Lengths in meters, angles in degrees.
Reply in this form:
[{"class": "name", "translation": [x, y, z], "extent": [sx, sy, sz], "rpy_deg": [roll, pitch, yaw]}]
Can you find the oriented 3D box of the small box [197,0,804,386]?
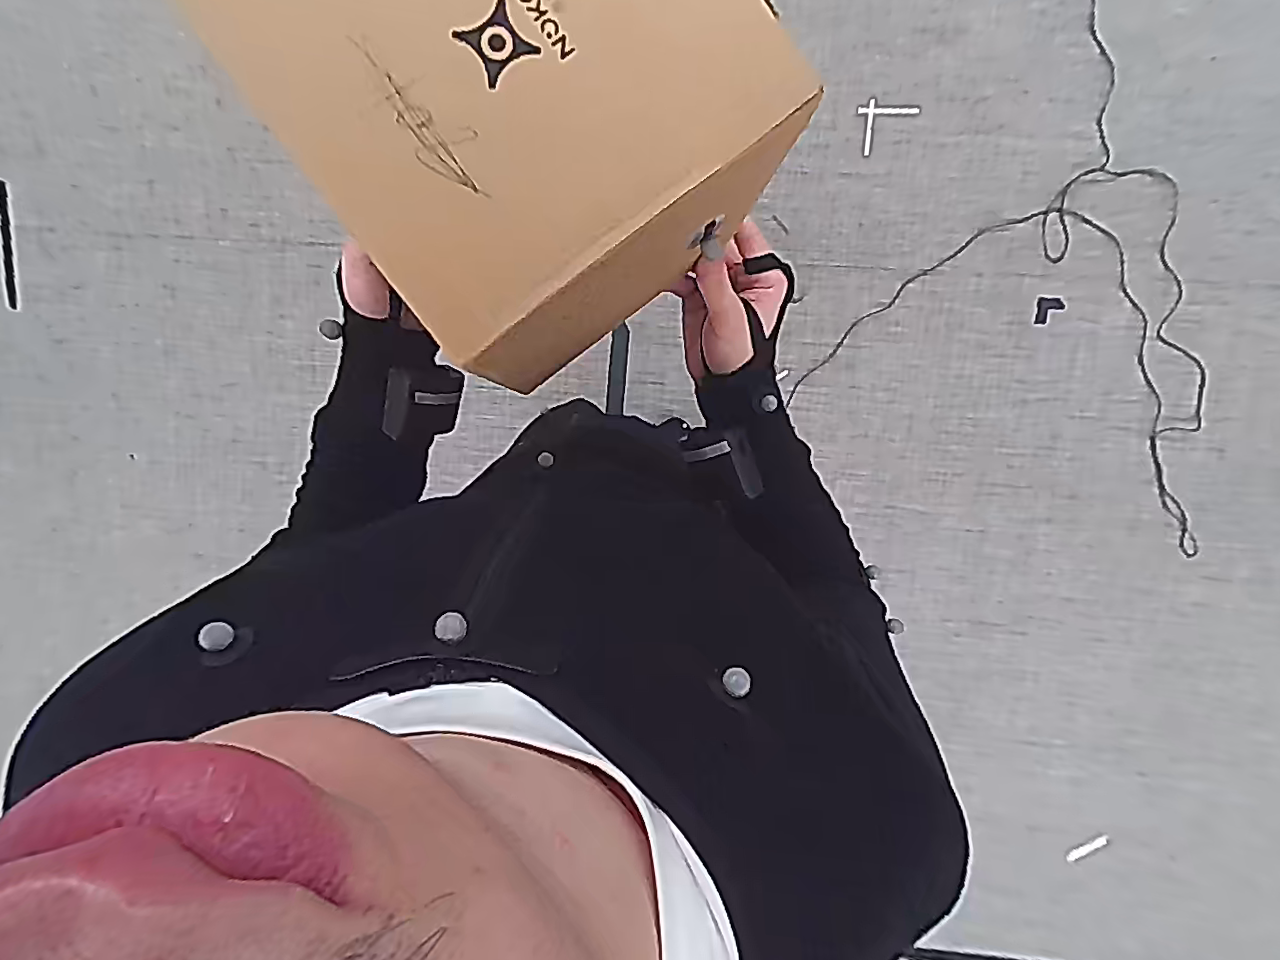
[{"class": "small box", "translation": [-0.054, -0.169, 0.287], "extent": [0.179, 0.176, 0.168], "rpy_deg": [-38, 96, 1]}]
